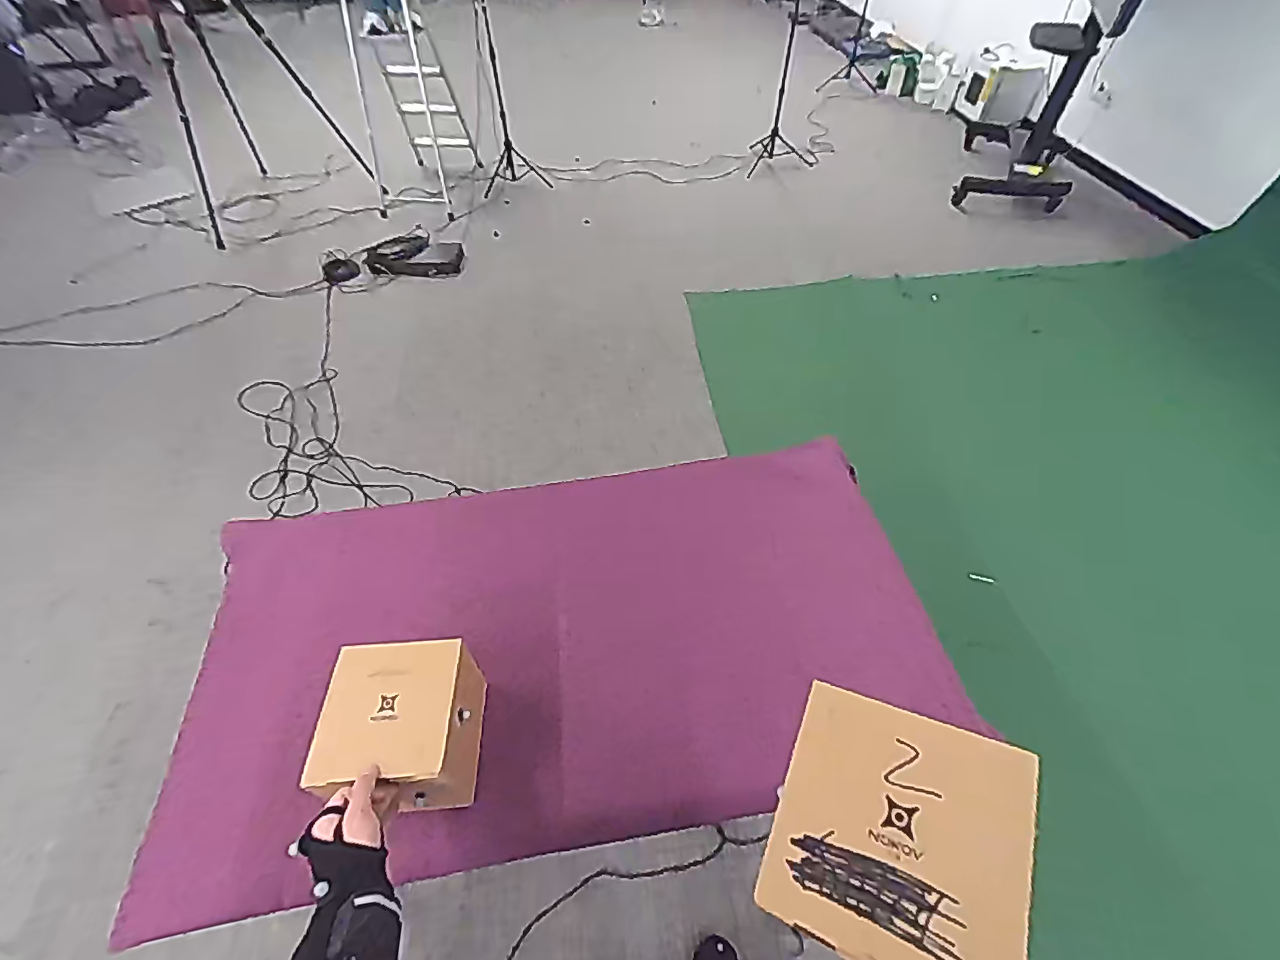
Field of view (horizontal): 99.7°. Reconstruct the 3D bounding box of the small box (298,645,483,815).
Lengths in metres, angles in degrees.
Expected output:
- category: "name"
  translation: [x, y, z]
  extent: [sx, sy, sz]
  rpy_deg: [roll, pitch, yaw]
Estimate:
- category: "small box"
  translation: [-0.323, 0.349, 0.747]
  extent: [0.168, 0.176, 0.179]
  rpy_deg: [-3, 48, -2]
